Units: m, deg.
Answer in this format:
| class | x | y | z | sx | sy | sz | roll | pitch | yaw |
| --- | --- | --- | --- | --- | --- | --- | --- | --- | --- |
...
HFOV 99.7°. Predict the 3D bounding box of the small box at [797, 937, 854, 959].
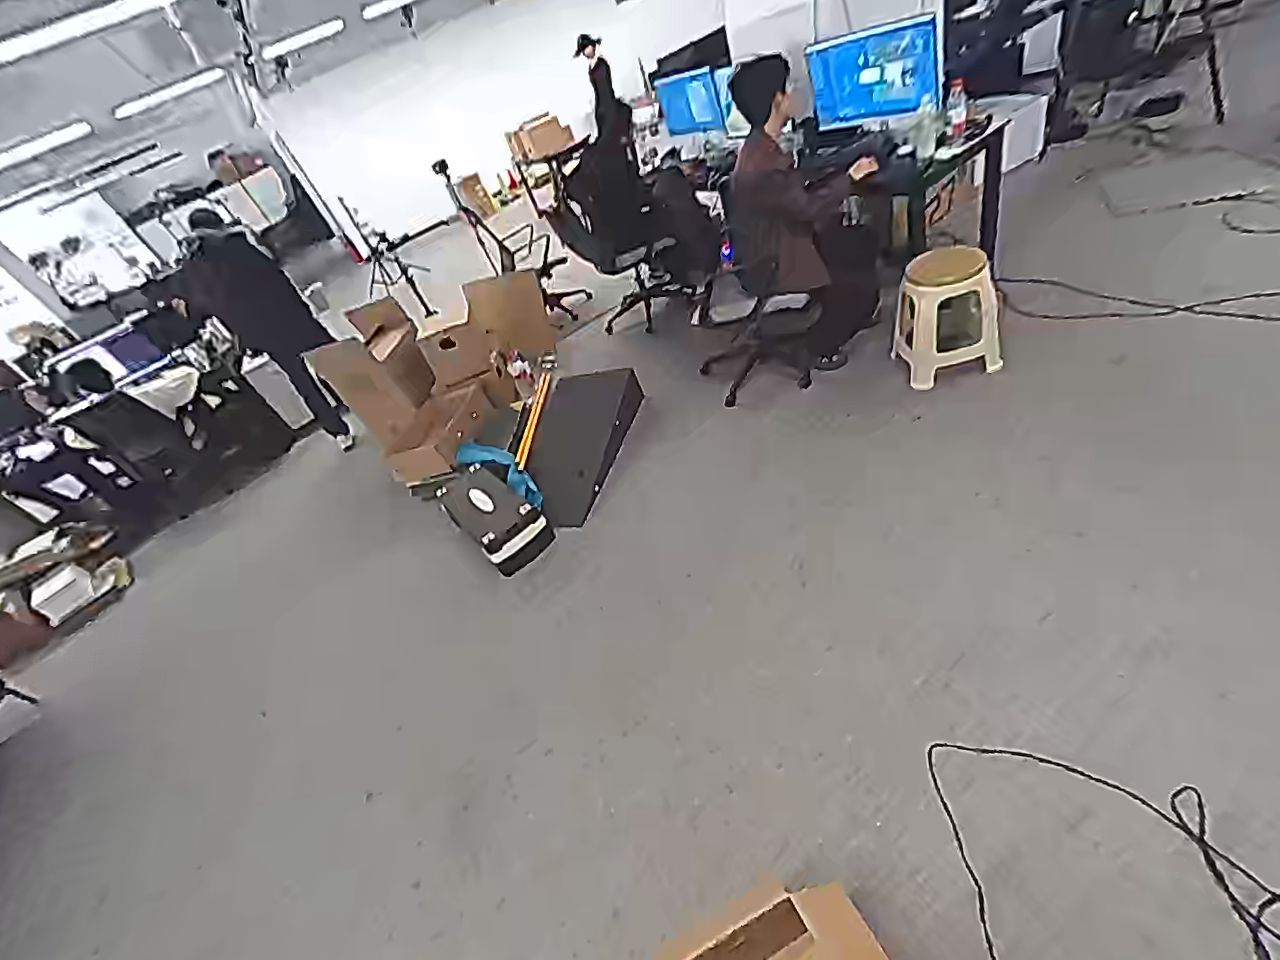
| class | x | y | z | sx | sy | sz | roll | pitch | yaw |
| --- | --- | --- | --- | --- | --- | --- | --- | --- | --- |
| small box | 0.198 | 0.642 | 0.570 | 0.168 | 0.176 | 0.179 | -53 | 48 | 1 |
